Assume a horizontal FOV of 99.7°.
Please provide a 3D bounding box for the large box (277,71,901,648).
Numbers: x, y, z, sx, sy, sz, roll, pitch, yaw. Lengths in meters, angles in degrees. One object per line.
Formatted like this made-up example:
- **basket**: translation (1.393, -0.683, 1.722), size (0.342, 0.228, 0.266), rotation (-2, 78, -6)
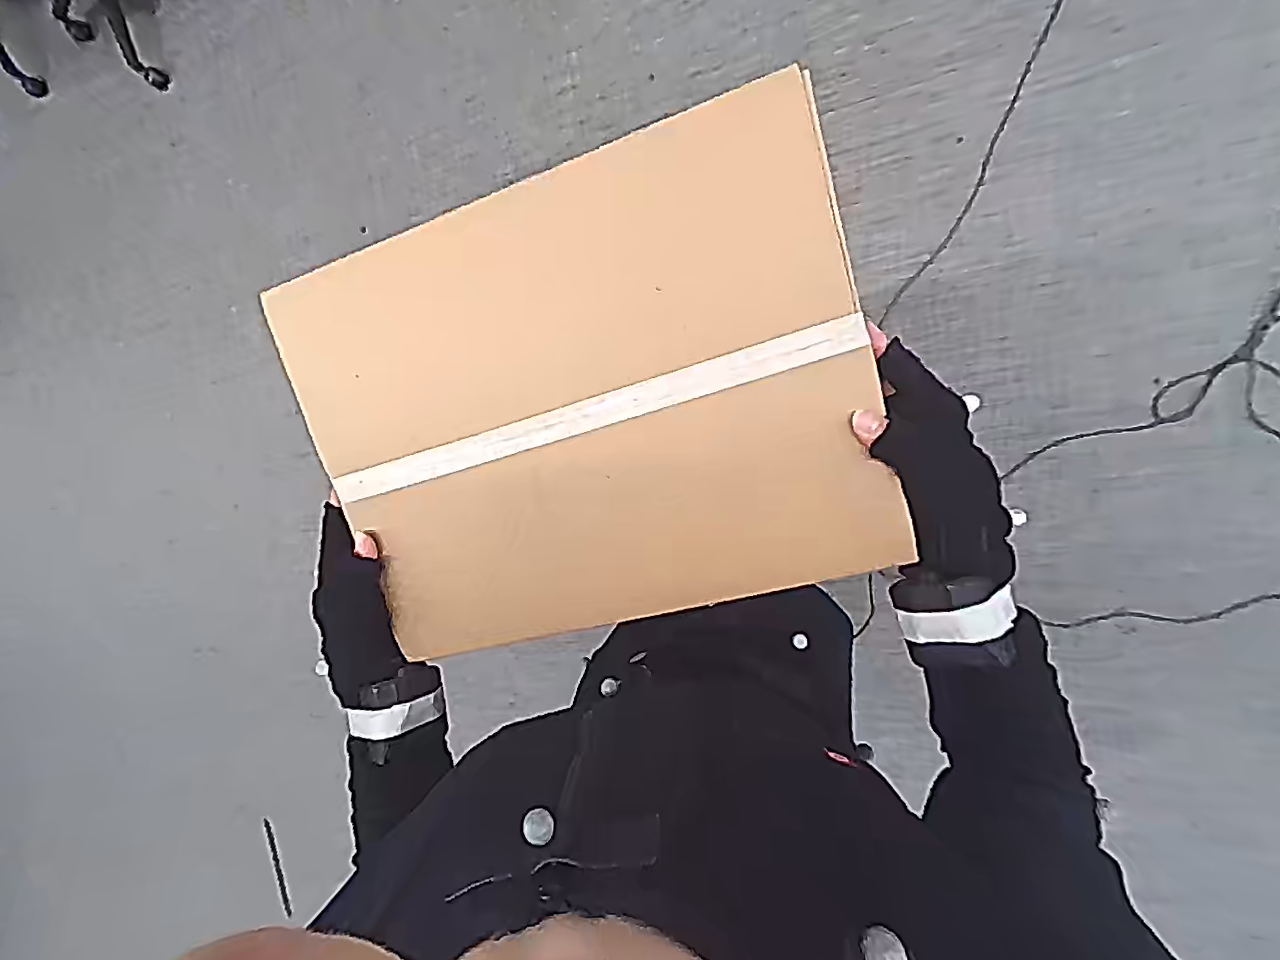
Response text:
- **large box**: translation (-0.022, -0.084, 0.533), size (0.408, 0.320, 0.320), rotation (-15, 99, 14)
